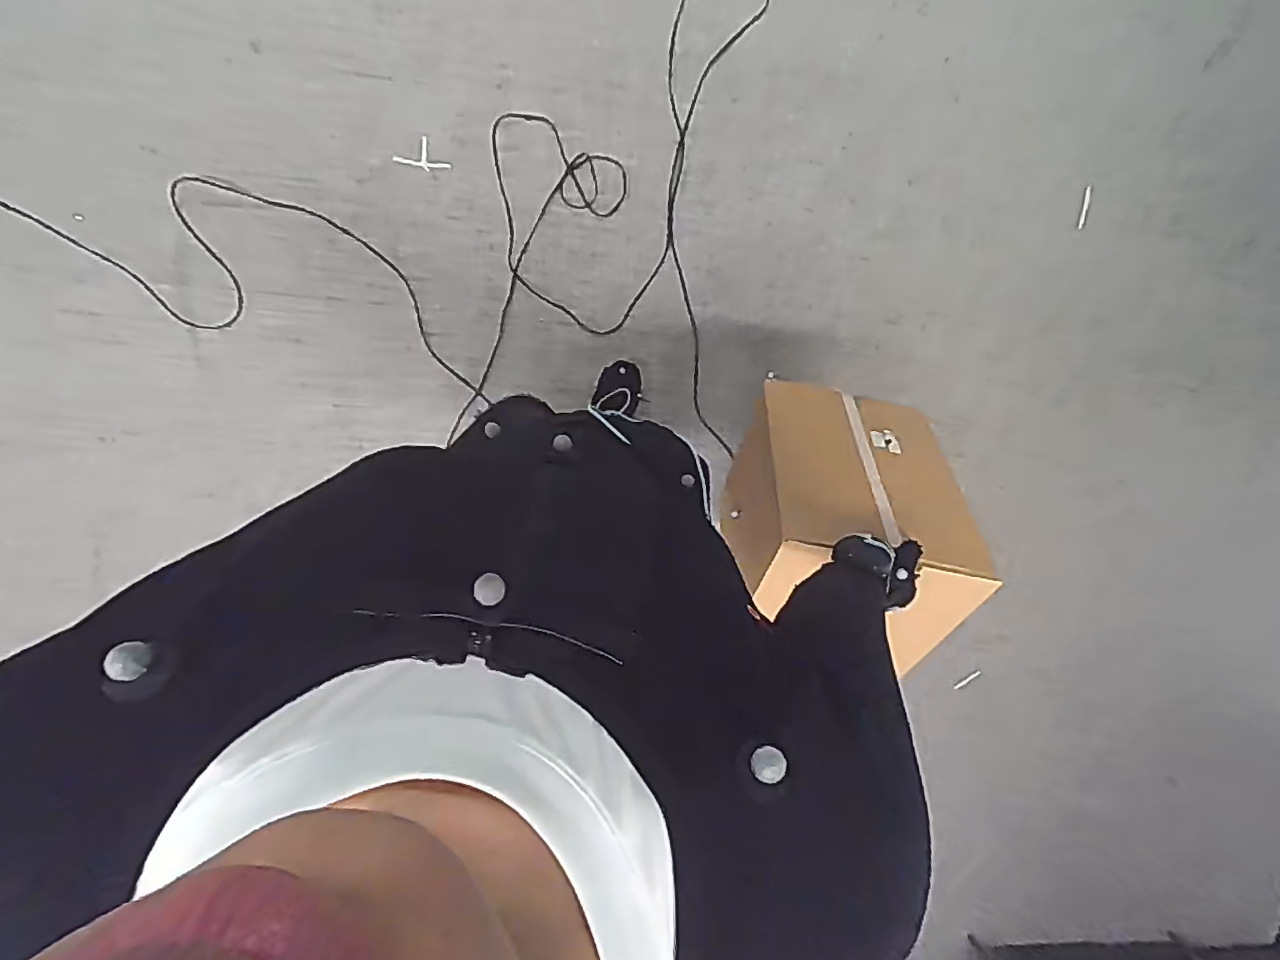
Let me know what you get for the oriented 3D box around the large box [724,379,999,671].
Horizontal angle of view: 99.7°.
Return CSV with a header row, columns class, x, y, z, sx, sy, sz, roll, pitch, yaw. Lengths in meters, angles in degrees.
class,x,y,z,sx,sy,sz,roll,pitch,yaw
large box,0.343,0.076,0.984,0.320,0.408,0.320,12,133,-3
